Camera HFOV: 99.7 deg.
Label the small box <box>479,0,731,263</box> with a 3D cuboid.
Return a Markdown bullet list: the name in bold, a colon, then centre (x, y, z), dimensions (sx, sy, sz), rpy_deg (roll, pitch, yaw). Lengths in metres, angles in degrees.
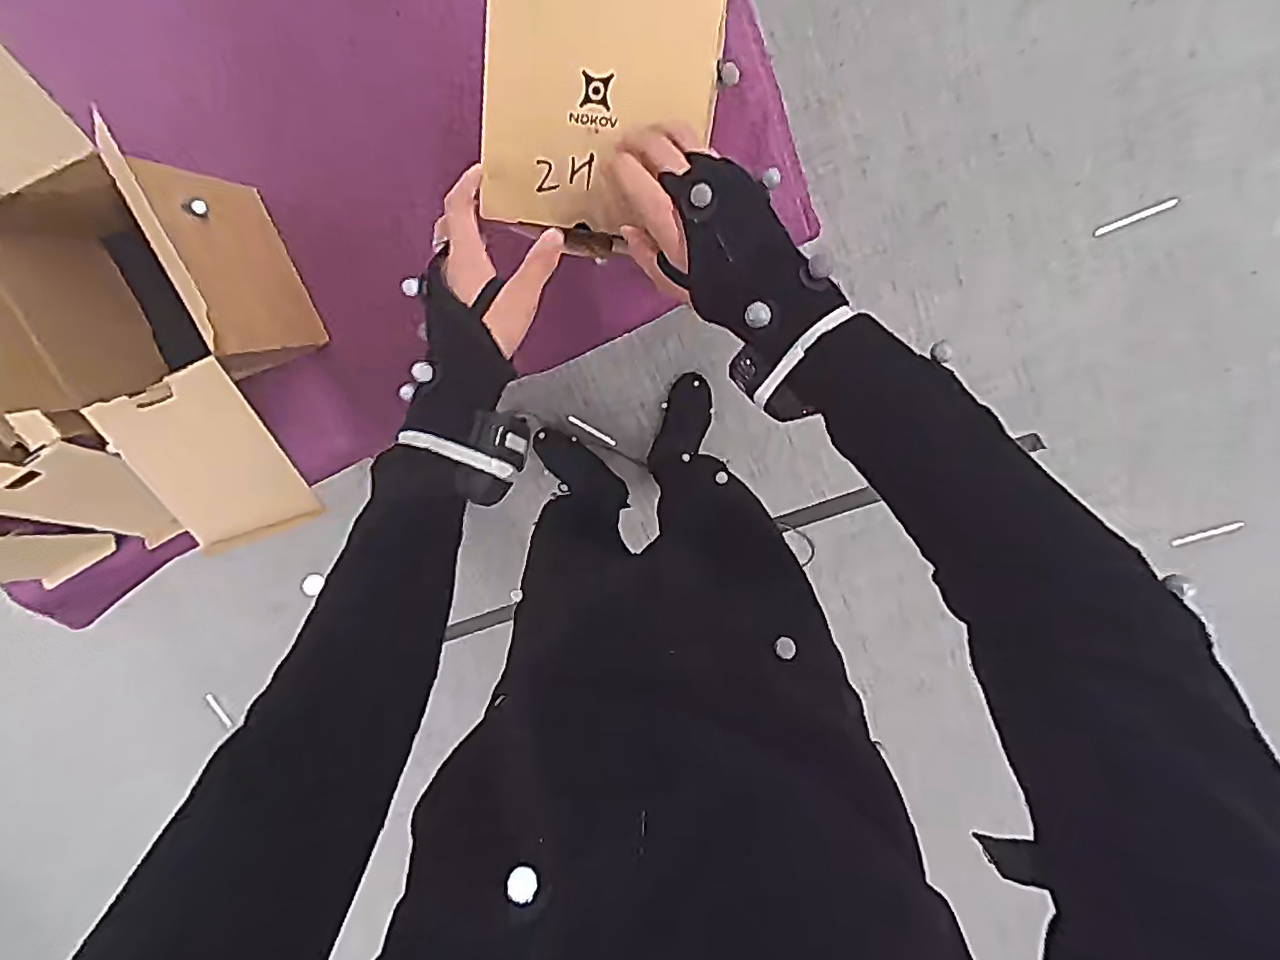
- **small box**: centre (-0.024, -0.296, 0.467), dimensions (0.168, 0.176, 0.179), rpy_deg (11, 109, 3)
